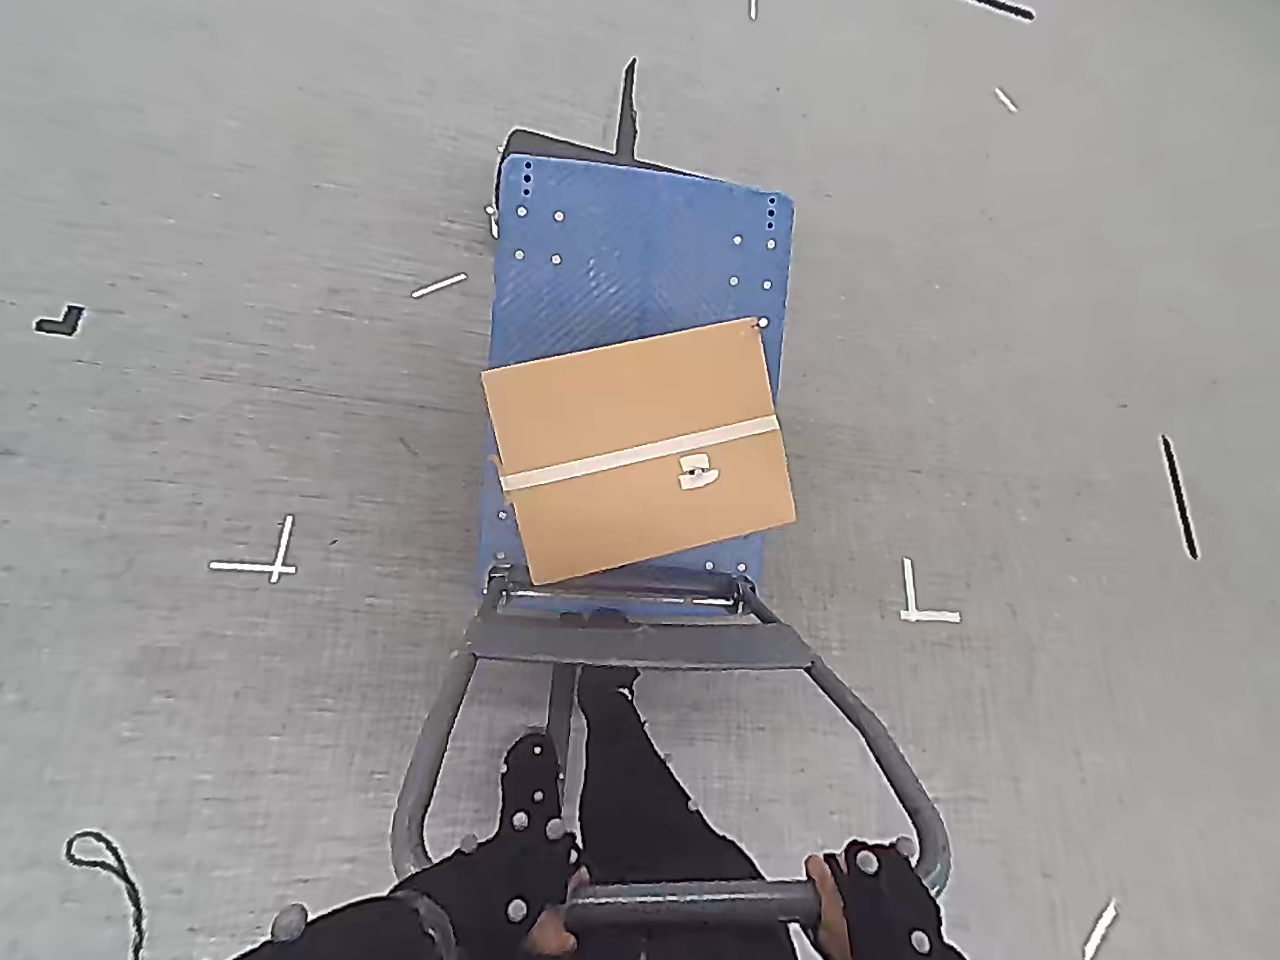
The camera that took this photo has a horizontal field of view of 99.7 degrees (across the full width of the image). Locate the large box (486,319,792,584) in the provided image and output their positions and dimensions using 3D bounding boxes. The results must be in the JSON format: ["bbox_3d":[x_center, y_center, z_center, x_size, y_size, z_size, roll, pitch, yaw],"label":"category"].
[{"bbox_3d":[-0.013,-0.052,0.933,0.408,0.320,0.320,-14,97,-7],"label":"large box"}]
